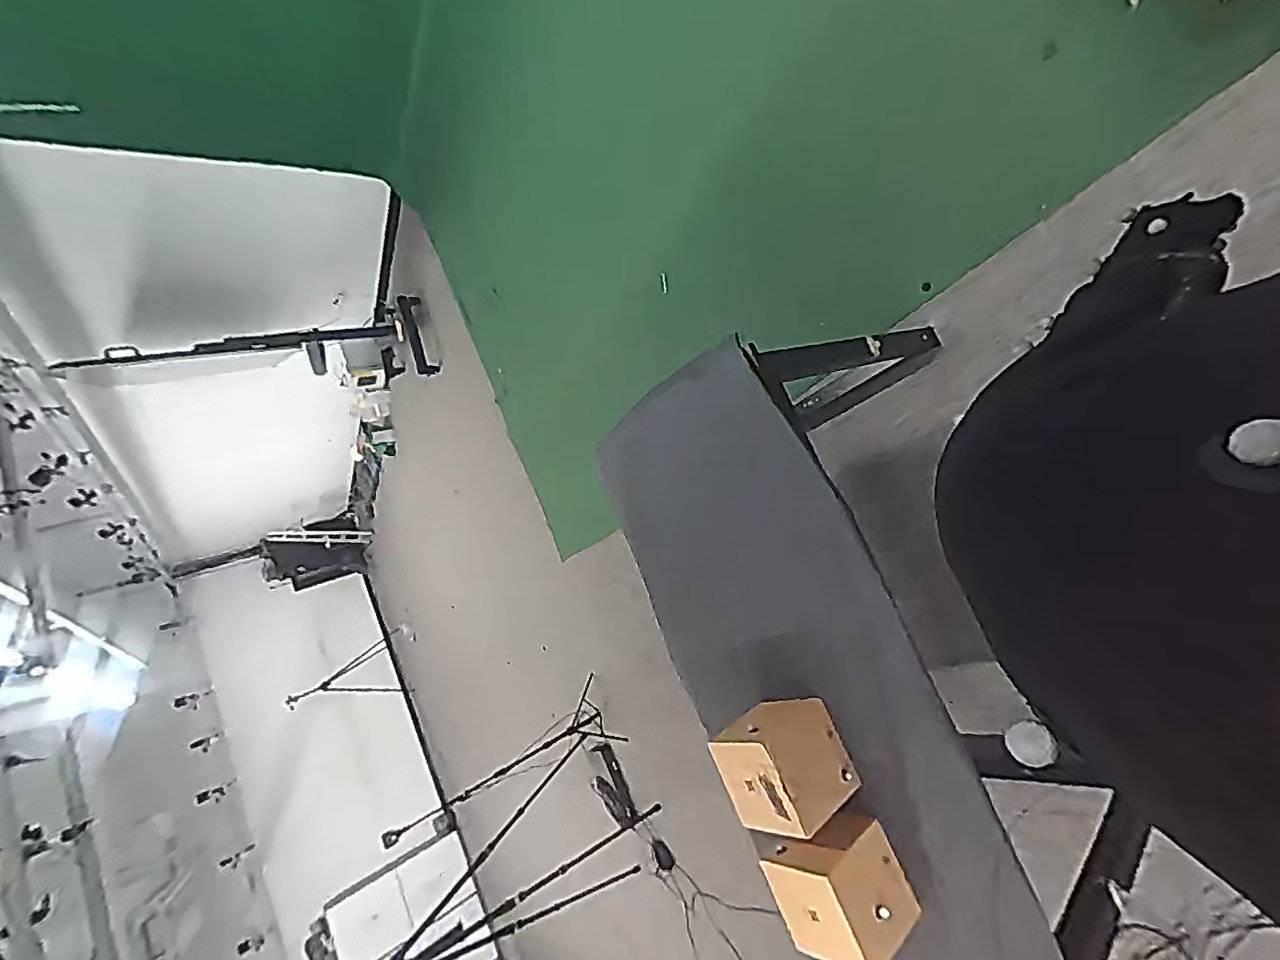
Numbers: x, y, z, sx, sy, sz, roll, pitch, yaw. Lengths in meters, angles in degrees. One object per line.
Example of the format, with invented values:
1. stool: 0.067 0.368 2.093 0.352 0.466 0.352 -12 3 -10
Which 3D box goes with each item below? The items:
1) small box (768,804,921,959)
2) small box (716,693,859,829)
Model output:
1. small box: 0.378 0.722 0.989 0.179 0.176 0.168 -40 72 53
2. small box: 0.286 0.522 1.028 0.179 0.176 0.168 -39 72 54
